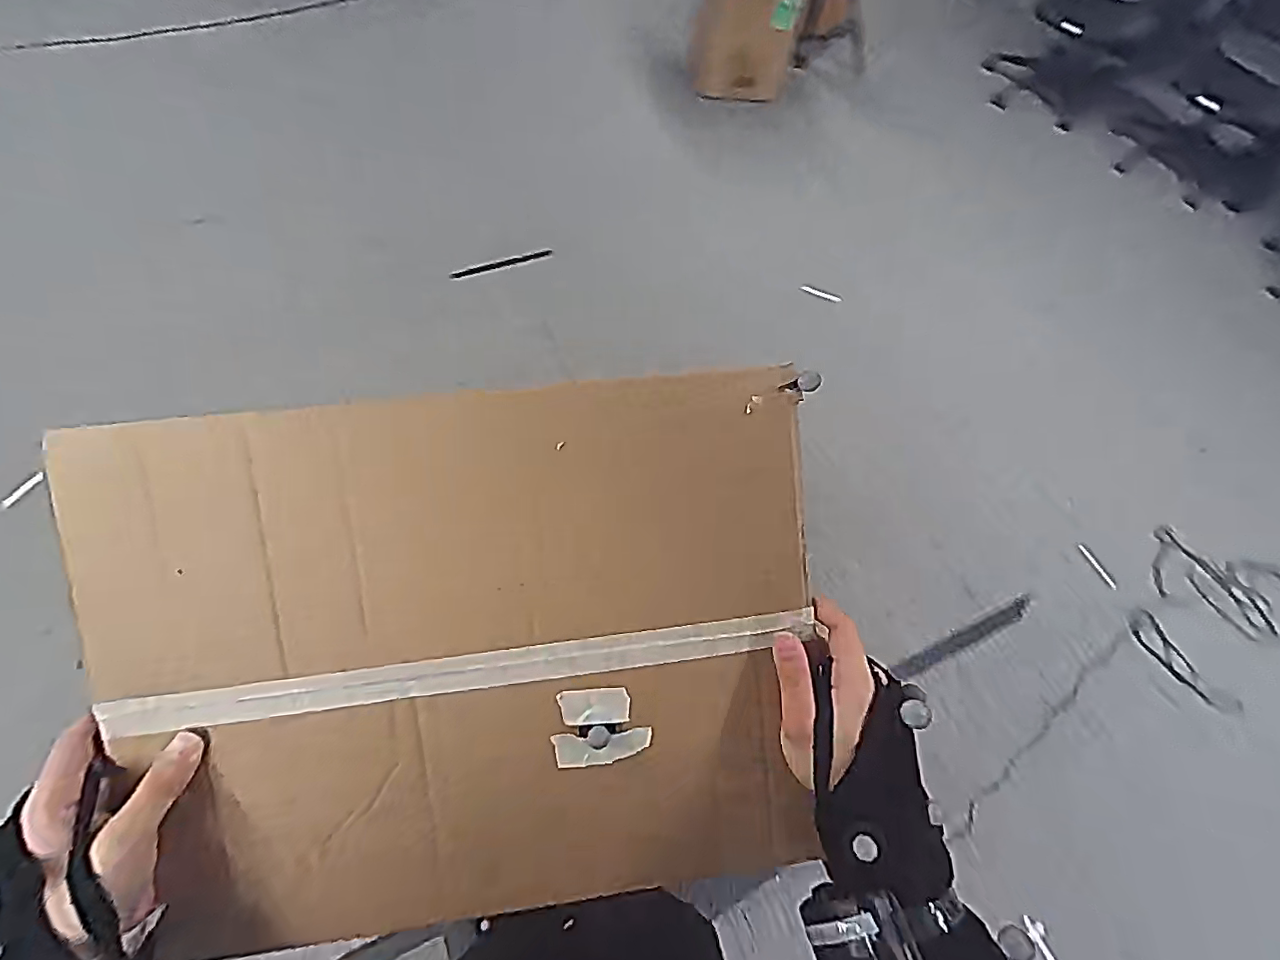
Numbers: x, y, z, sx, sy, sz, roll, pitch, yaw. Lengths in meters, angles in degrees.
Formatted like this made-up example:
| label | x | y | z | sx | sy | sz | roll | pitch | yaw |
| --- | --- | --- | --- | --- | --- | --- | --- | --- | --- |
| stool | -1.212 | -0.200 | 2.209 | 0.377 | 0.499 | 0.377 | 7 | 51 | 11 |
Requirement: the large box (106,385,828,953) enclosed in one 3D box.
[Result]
| label | x | y | z | sx | sy | sz | roll | pitch | yaw |
| --- | --- | --- | --- | --- | --- | --- | --- | --- | --- |
| large box | -0.100 | 0.100 | 0.474 | 0.408 | 0.320 | 0.320 | -5 | 97 | -5 |
